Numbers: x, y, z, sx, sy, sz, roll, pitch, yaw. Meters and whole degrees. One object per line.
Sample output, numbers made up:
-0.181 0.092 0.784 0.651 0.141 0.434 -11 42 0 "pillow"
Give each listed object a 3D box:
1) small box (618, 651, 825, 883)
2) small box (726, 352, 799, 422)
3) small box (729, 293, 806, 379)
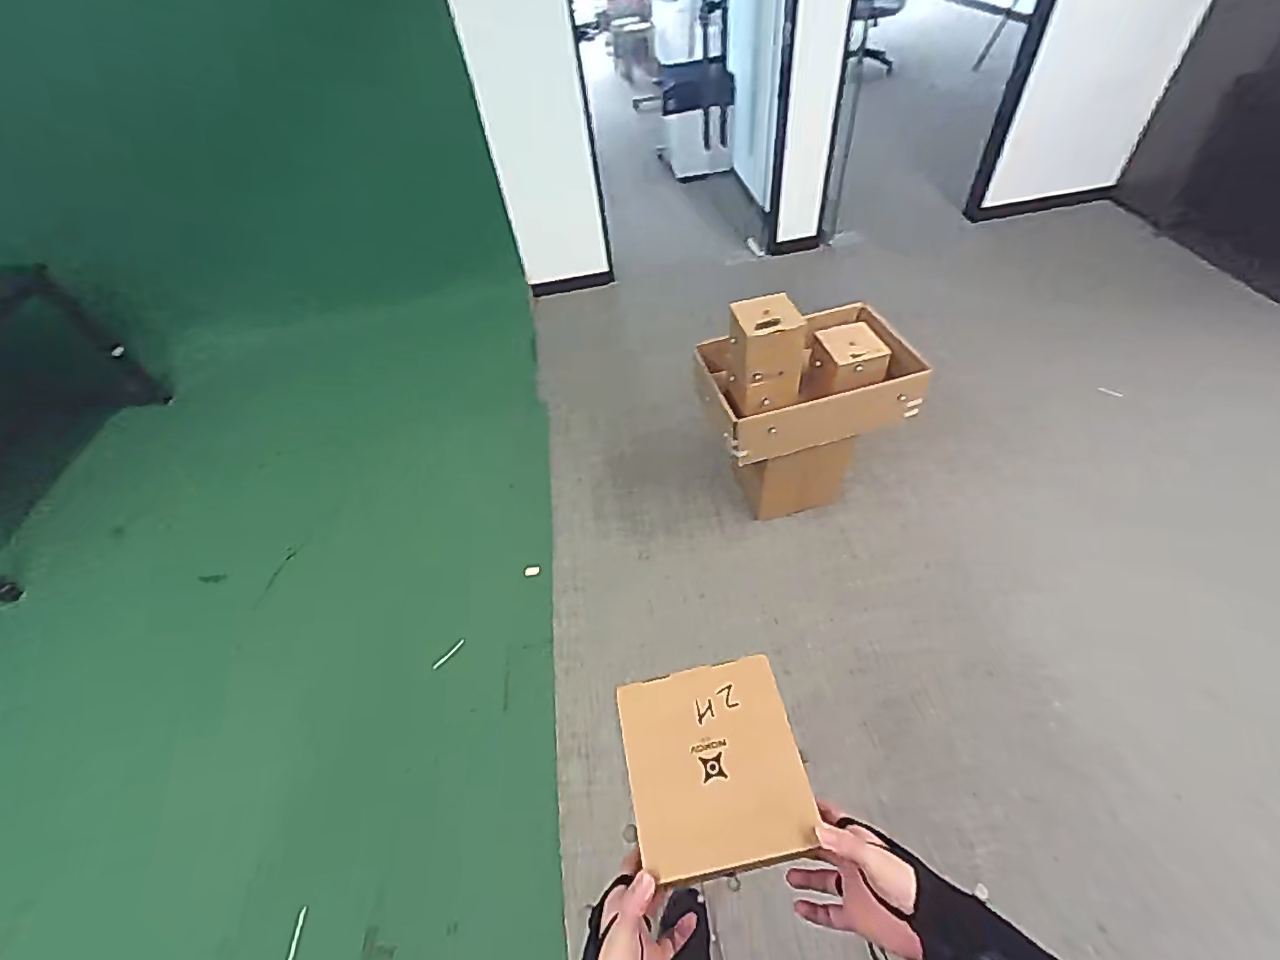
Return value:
0.077 0.307 0.571 0.168 0.176 0.179 -11 51 -1 "small box"
0.372 -0.297 1.668 0.168 0.176 0.179 -15 49 -5 "small box"
0.357 -0.404 1.544 0.168 0.176 0.179 -11 48 -2 "small box"
